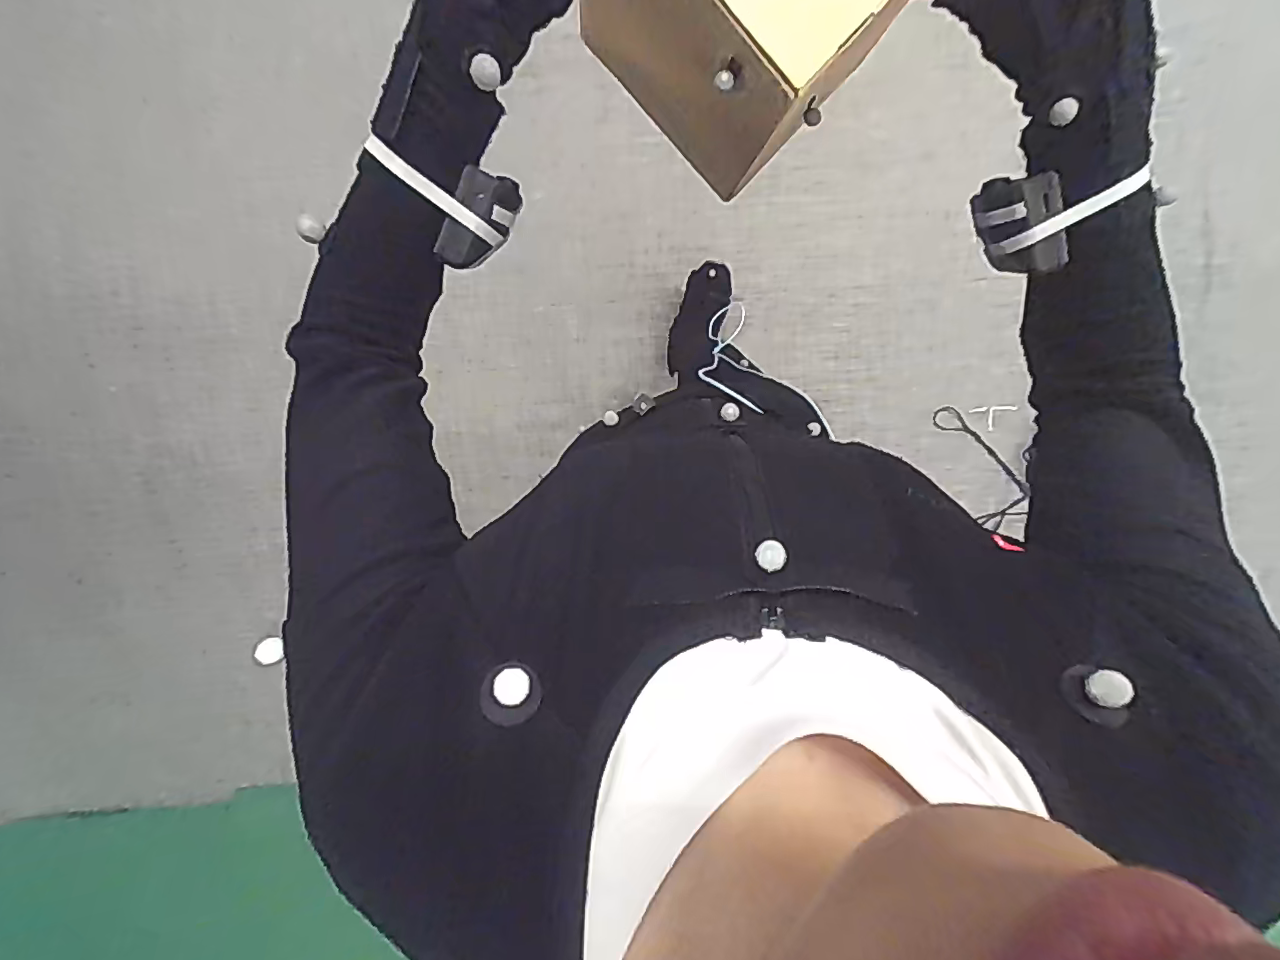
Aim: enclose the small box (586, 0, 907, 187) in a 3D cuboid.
[{"bbox_3d":[0.075,-0.347,0.371,0.179,0.176,0.168,44,92,-11],"label":"small box"}]
